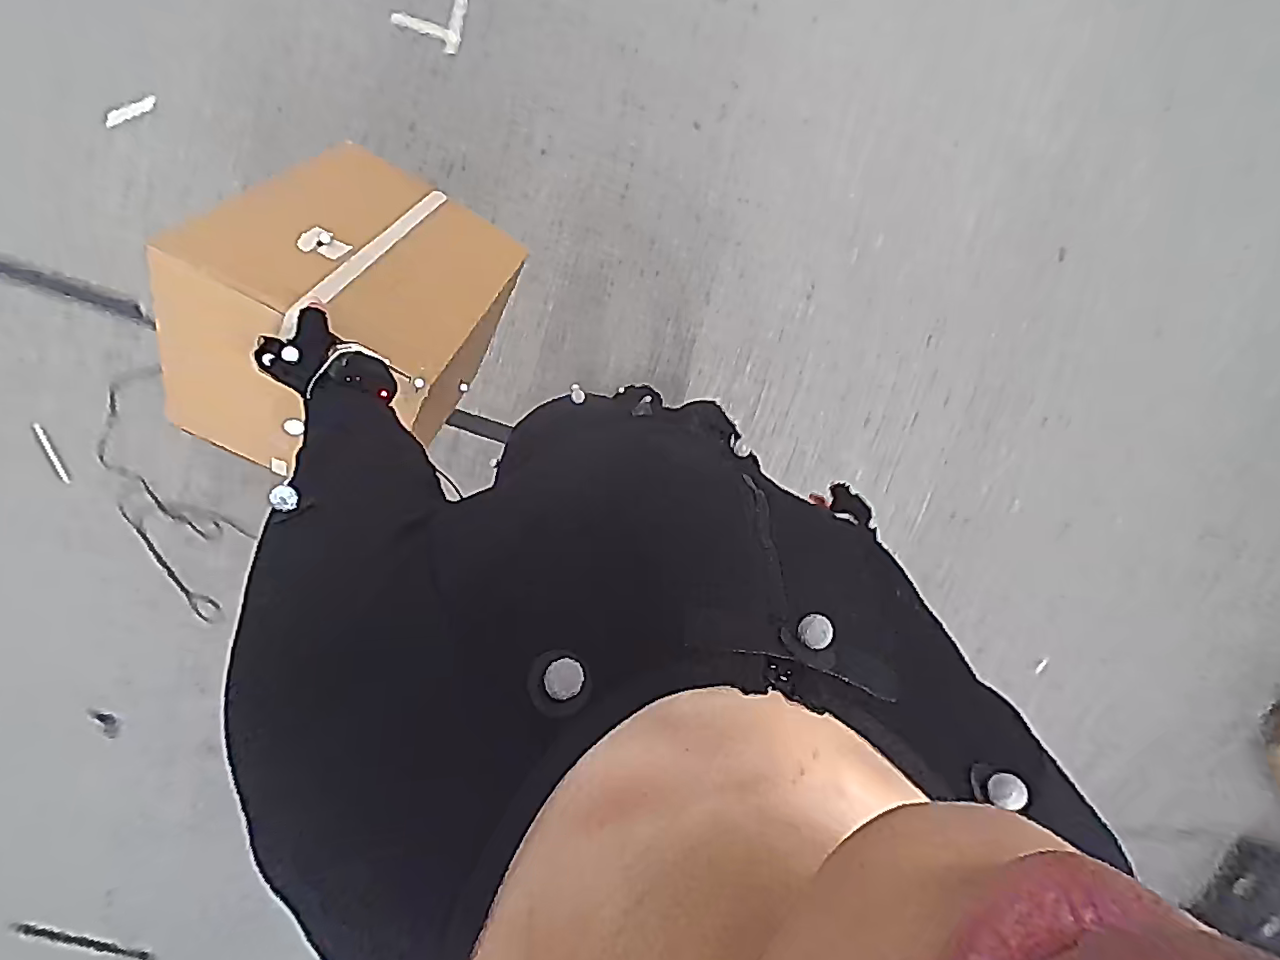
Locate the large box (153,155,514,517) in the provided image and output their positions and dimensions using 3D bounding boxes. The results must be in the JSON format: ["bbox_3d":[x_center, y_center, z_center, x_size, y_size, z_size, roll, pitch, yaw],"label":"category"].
[{"bbox_3d":[-0.445,-0.223,0.858,0.320,0.408,0.320,26,135,-15],"label":"large box"}]
